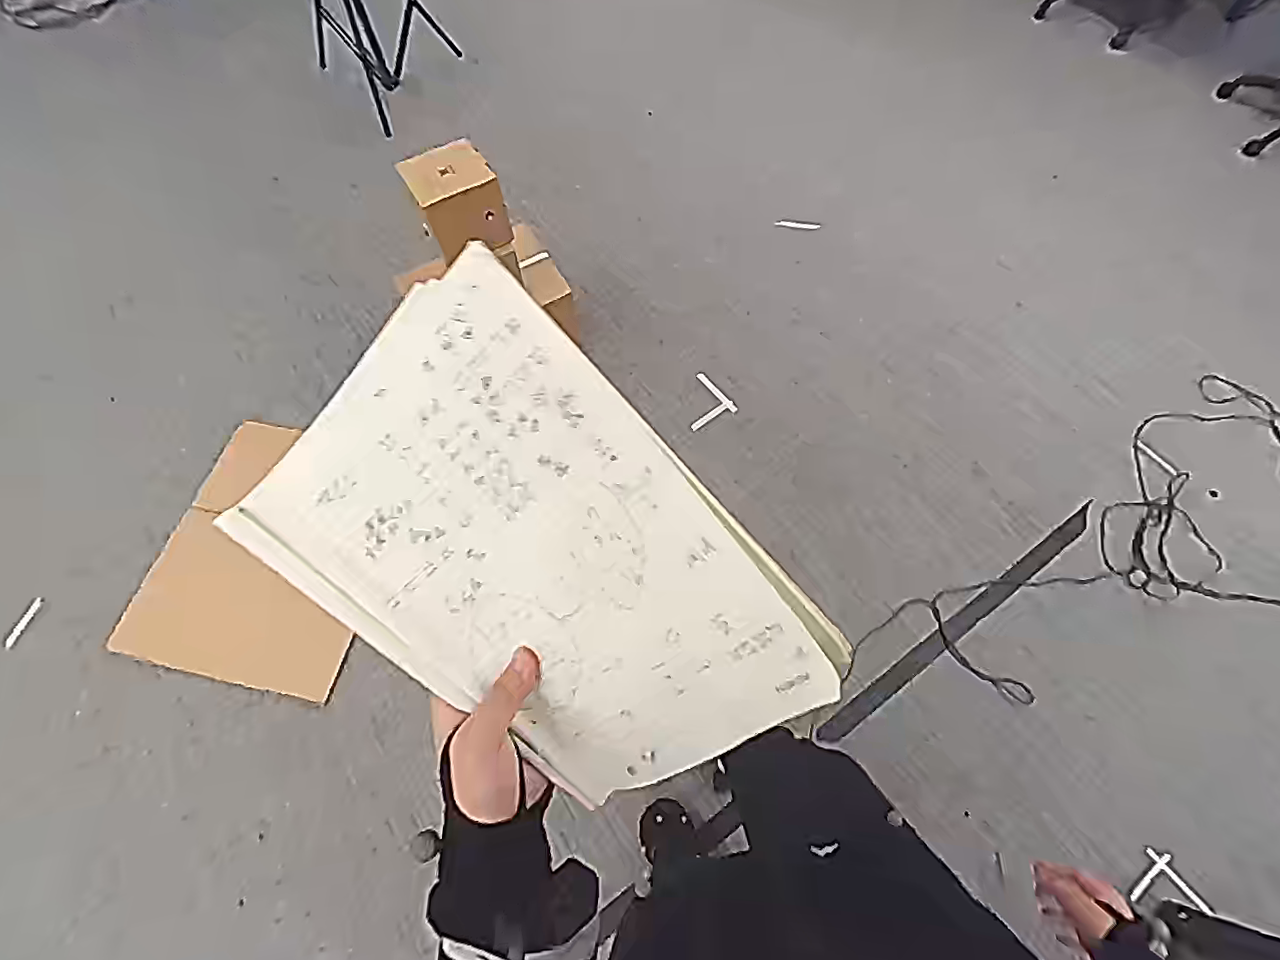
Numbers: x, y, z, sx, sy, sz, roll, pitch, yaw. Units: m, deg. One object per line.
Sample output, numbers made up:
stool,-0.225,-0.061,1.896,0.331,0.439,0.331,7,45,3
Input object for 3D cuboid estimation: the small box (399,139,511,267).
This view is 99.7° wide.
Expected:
small box,-0.413,-0.631,1.244,0.179,0.176,0.168,-31,68,-11
